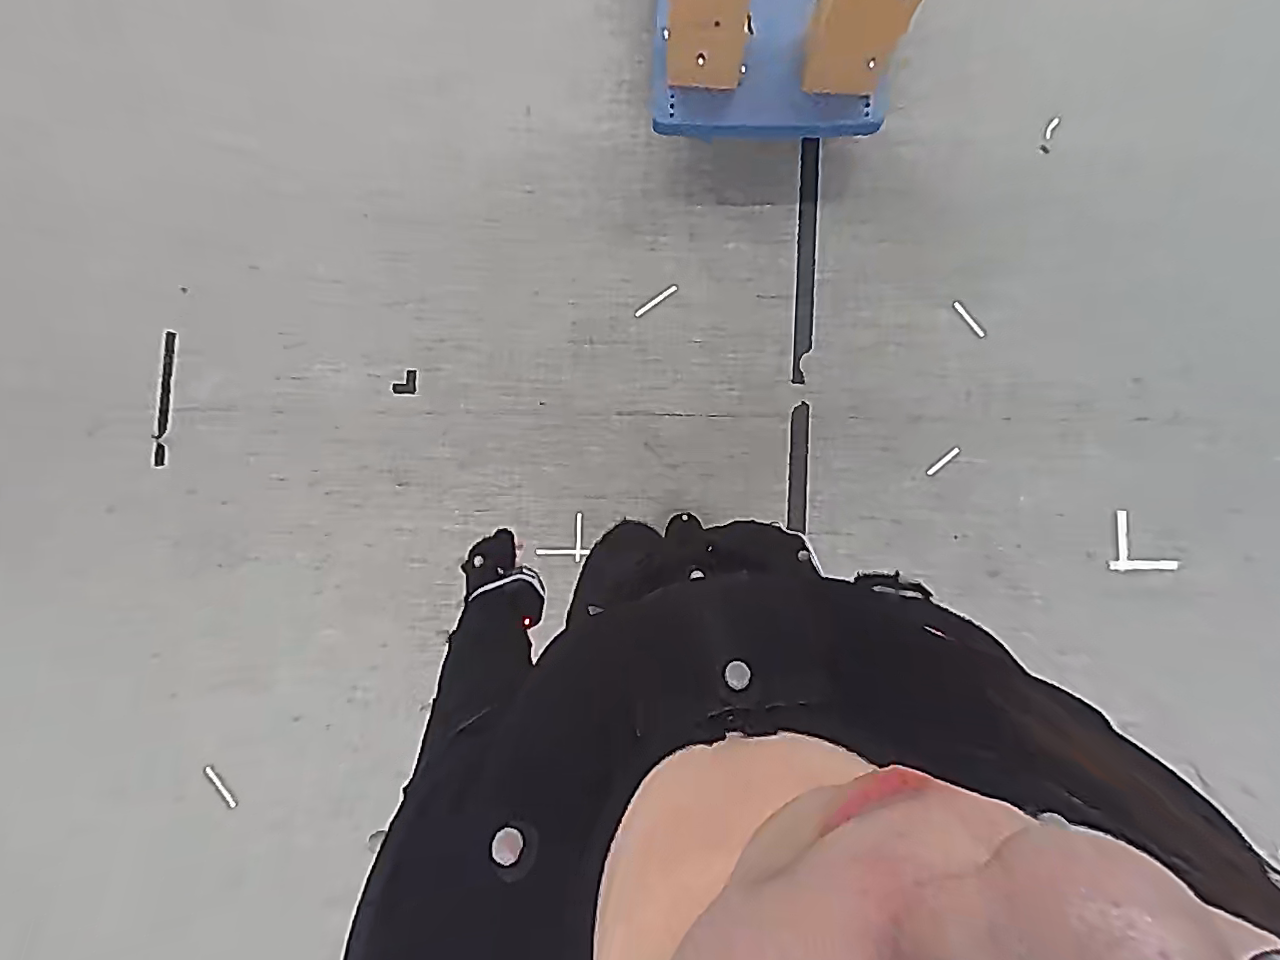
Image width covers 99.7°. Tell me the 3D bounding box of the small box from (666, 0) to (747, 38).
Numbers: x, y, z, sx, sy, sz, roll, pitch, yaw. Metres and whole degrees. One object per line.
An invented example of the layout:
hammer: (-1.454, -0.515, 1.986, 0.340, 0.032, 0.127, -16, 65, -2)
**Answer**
small box: (0.141, -1.061, 1.105, 0.168, 0.176, 0.179, 3, 87, 3)

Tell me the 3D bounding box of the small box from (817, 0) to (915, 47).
small box: (0.470, -1.024, 1.091, 0.179, 0.176, 0.168, 7, 88, 2)

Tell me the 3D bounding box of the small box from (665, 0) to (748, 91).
small box: (0.153, -1.053, 1.269, 0.179, 0.176, 0.168, 6, 88, 4)
